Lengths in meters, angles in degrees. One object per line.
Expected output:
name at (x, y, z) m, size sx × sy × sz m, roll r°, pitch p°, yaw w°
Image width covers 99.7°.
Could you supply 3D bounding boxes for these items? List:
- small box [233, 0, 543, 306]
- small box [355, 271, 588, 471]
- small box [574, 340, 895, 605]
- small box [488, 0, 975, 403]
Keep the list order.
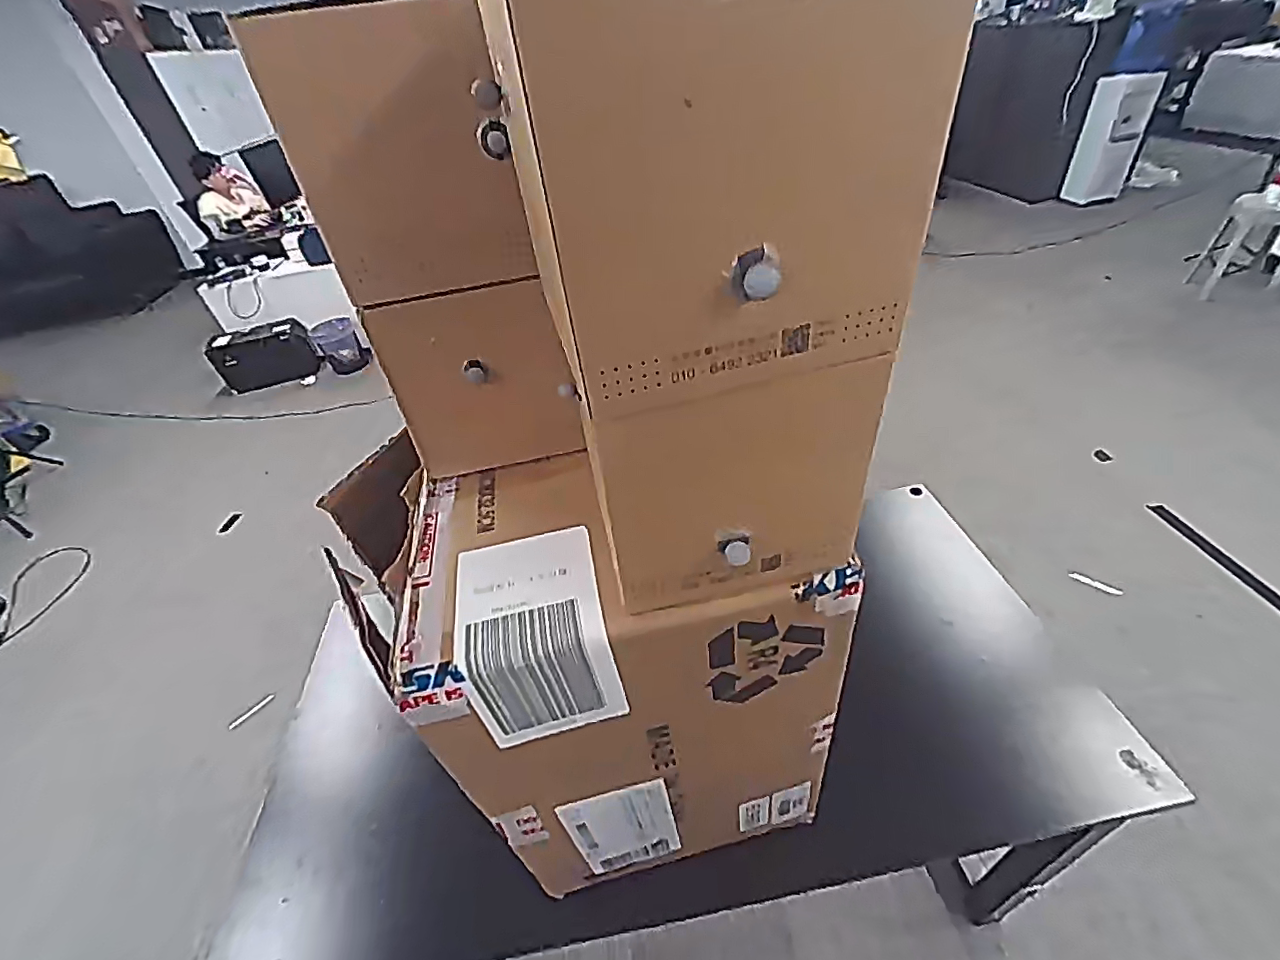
small box at (-0.152, -0.254, 0.418) m, size 0.179 × 0.176 × 0.168 m, roll -15°, pitch 38°, yaw -8°
small box at (-0.136, -0.129, 0.522) m, size 0.179 × 0.176 × 0.168 m, roll -13°, pitch 38°, yaw -5°
small box at (0.045, -0.041, 0.387) m, size 0.168 × 0.176 × 0.179 m, roll -12°, pitch 41°, yaw -5°
small box at (0.025, -0.164, 0.278) m, size 0.168 × 0.176 × 0.179 m, roll -15°, pitch 41°, yaw -7°
